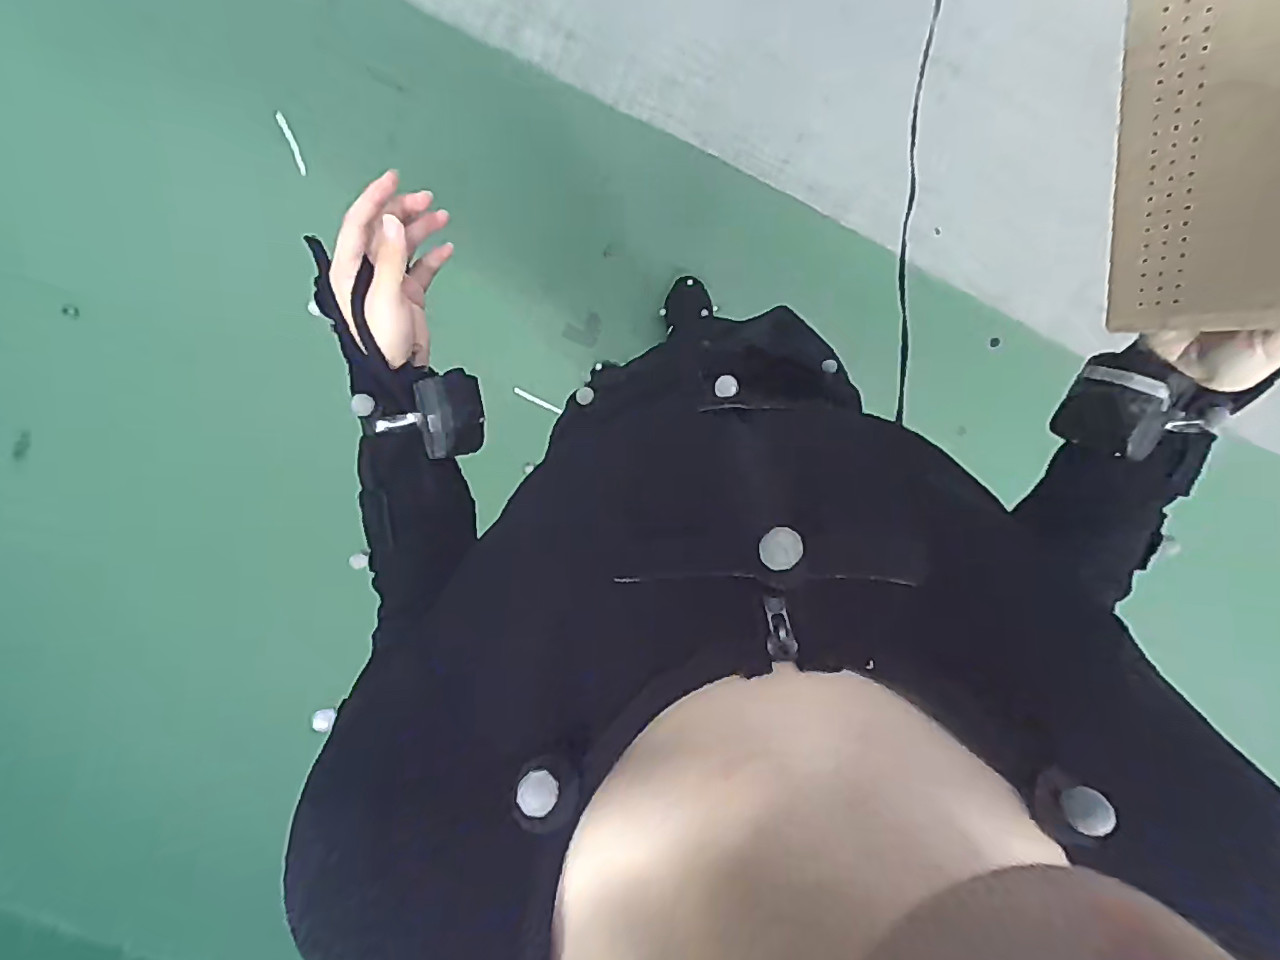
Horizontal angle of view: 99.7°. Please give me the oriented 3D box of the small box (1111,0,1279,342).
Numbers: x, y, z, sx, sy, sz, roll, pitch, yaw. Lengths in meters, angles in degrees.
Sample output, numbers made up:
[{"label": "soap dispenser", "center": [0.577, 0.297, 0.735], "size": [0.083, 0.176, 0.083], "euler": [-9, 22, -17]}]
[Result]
[{"label": "small box", "center": [0.324, -0.159, 0.207], "size": [0.168, 0.176, 0.179], "euler": [-18, 107, -19]}]
